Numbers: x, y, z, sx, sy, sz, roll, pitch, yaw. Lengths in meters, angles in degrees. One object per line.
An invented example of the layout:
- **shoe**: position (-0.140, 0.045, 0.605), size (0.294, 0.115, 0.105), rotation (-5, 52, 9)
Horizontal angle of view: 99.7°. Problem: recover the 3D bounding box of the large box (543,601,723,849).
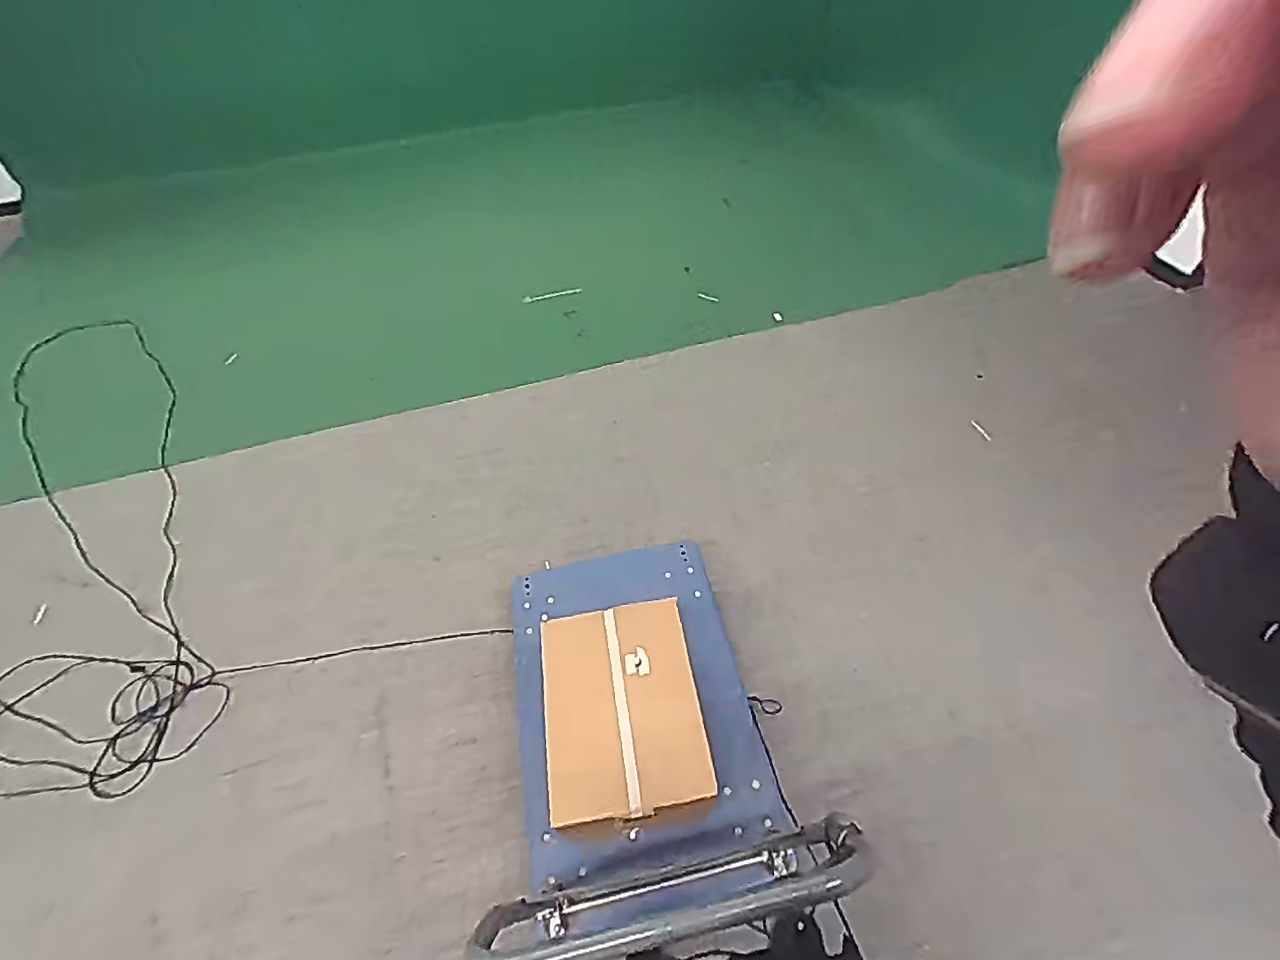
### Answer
- **large box**: position (-0.022, 0.543, 1.205), size (0.320, 0.320, 0.408), rotation (-9, 51, -4)
